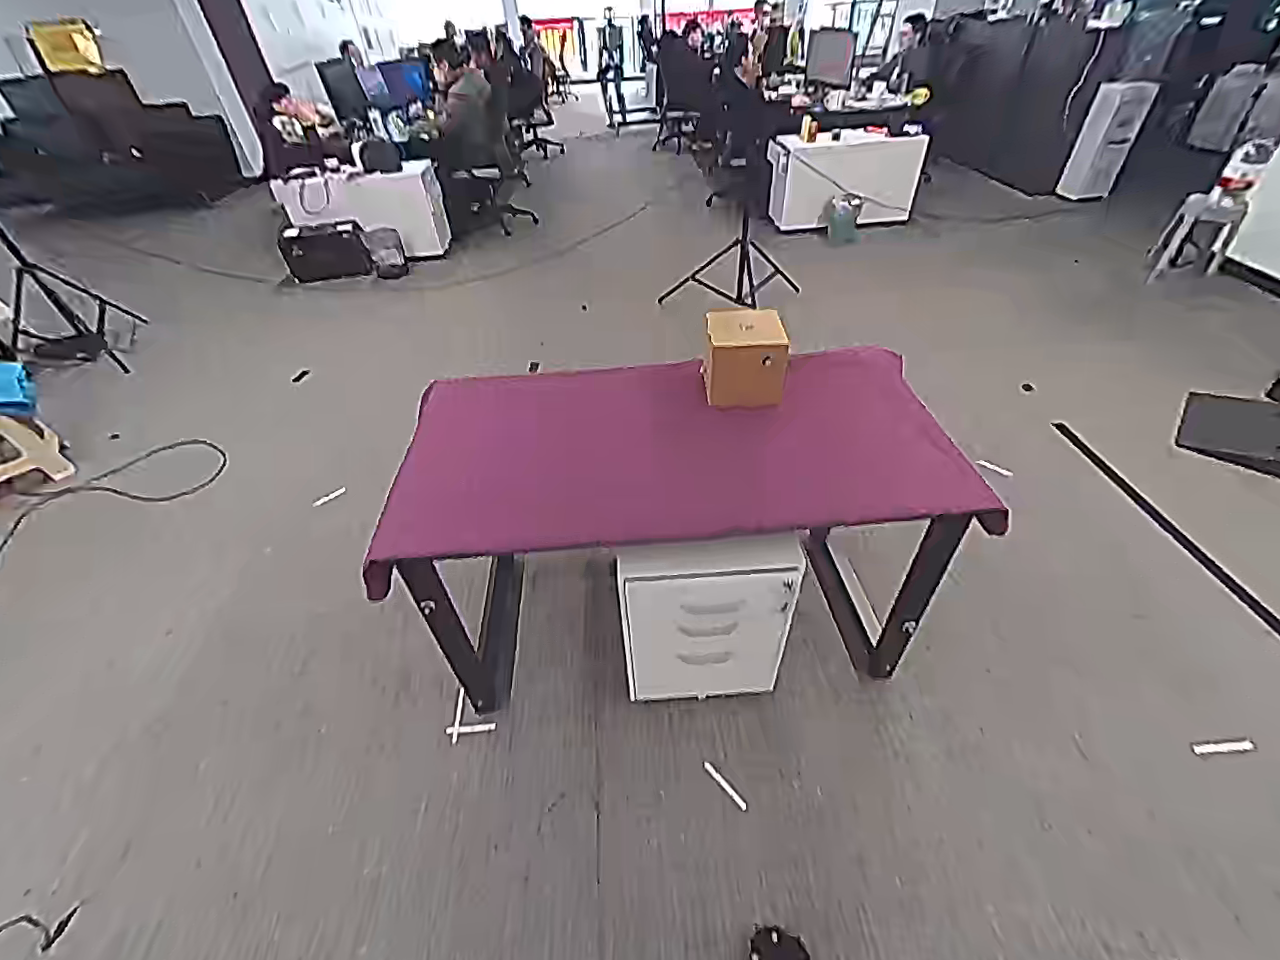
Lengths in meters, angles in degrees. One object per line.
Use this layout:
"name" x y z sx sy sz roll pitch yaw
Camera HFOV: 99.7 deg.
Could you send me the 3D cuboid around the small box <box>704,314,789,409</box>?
"small box" 0.250 -0.287 1.316 0.179 0.176 0.168 -3 43 2
